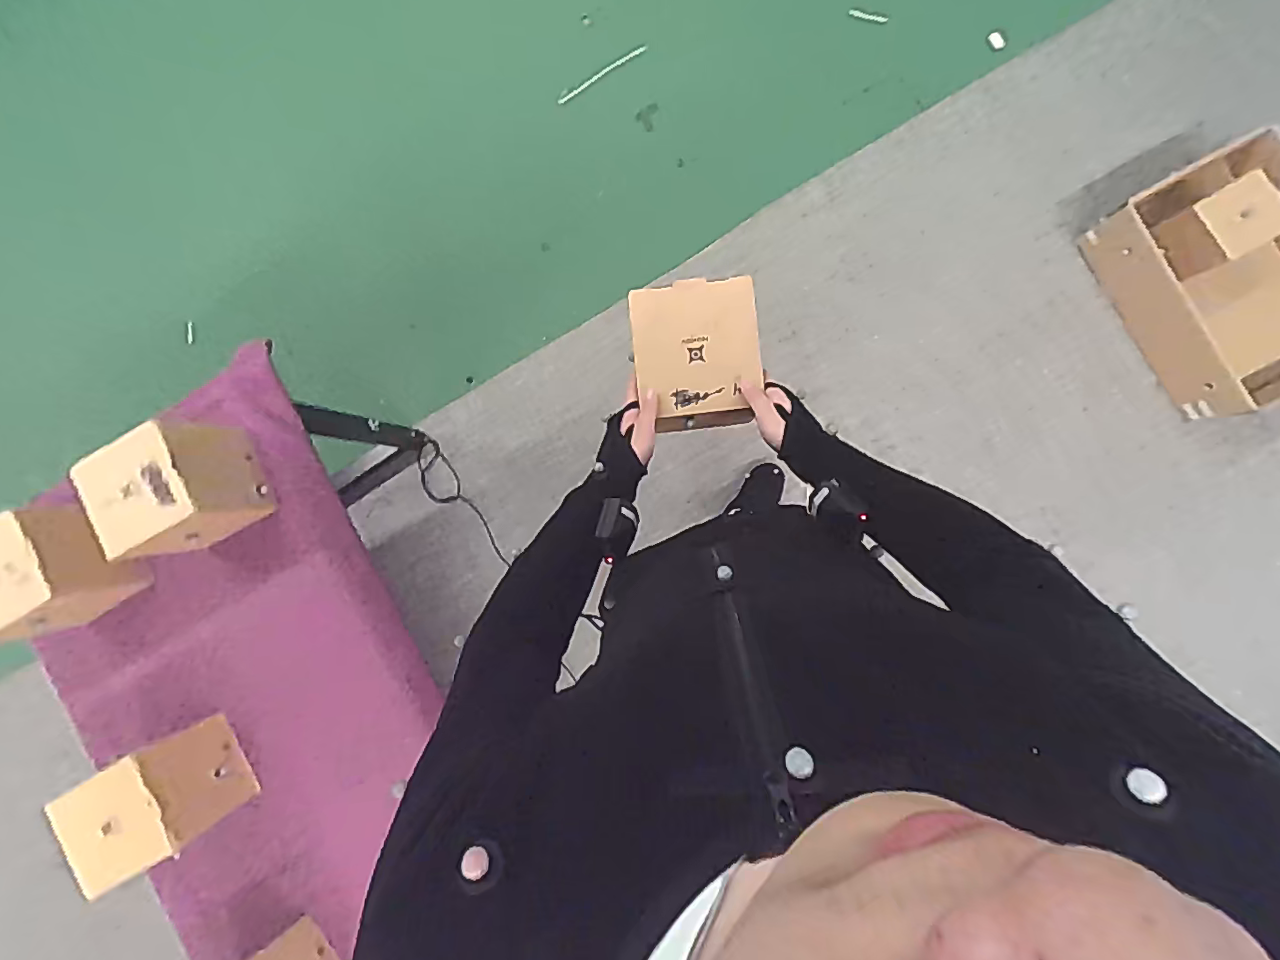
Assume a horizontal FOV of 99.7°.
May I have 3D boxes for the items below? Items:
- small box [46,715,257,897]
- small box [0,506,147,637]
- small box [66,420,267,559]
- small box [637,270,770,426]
[{"bbox_3d":[-0.810,0.535,0.914,0.179,0.176,0.168,-31,86,3],"label":"small box"},{"bbox_3d":[-1.033,0.156,0.939,0.179,0.176,0.168,-30,87,4],"label":"small box"},{"bbox_3d":[-0.780,0.013,0.915,0.179,0.176,0.168,-27,87,7],"label":"small box"},{"bbox_3d":[0.086,-0.179,0.783,0.168,0.176,0.179,-5,90,4],"label":"small box"}]
